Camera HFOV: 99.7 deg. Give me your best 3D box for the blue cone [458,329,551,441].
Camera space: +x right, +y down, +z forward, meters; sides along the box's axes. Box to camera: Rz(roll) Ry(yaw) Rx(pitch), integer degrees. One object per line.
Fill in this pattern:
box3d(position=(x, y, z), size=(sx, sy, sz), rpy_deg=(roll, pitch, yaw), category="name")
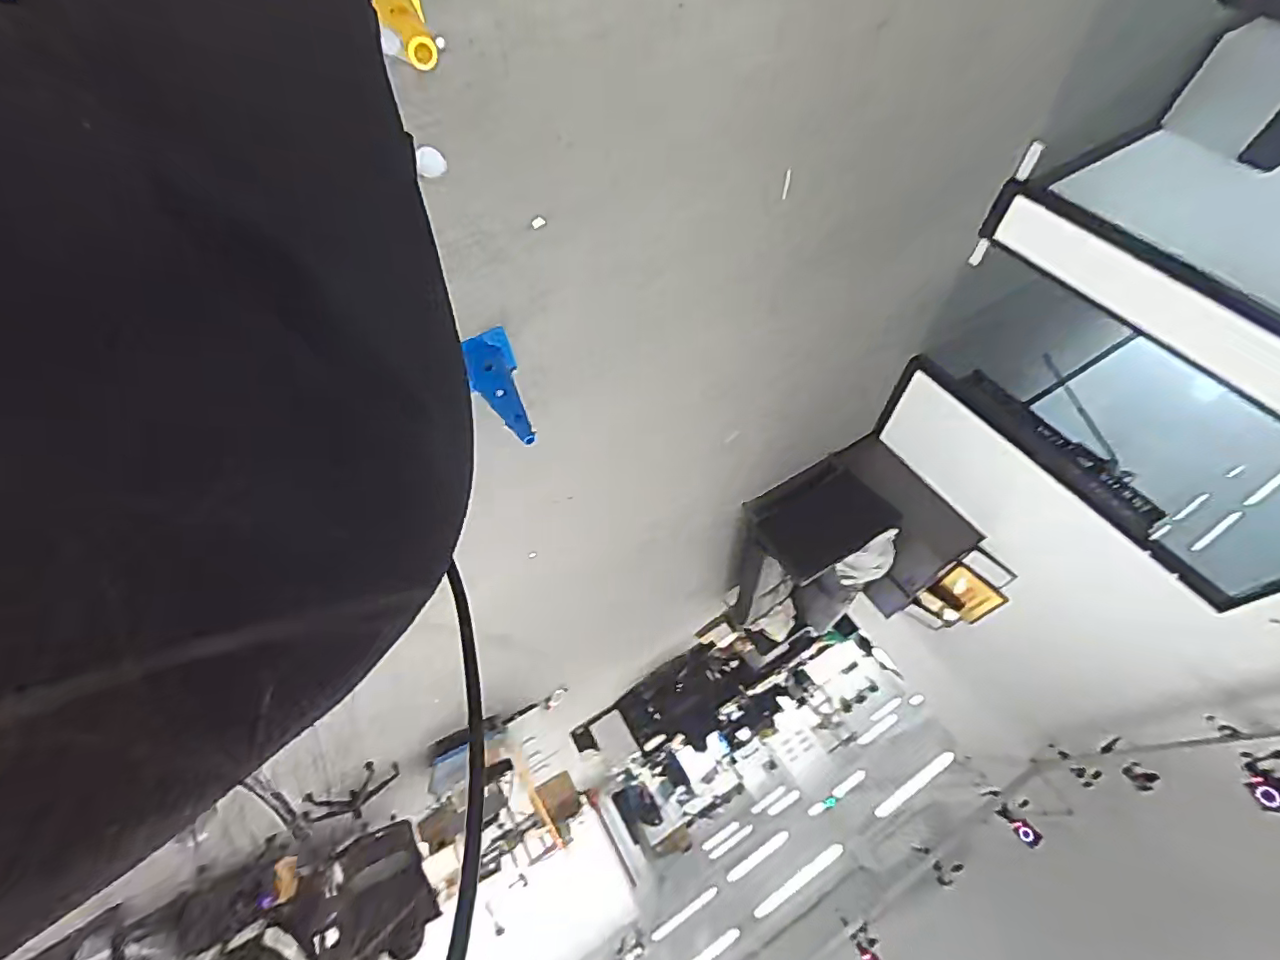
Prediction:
box3d(position=(-0.369, -0.246, 1.581), size=(0.192, 0.380, 0.193), rpy_deg=(-29, 151, -14), category="blue cone")
